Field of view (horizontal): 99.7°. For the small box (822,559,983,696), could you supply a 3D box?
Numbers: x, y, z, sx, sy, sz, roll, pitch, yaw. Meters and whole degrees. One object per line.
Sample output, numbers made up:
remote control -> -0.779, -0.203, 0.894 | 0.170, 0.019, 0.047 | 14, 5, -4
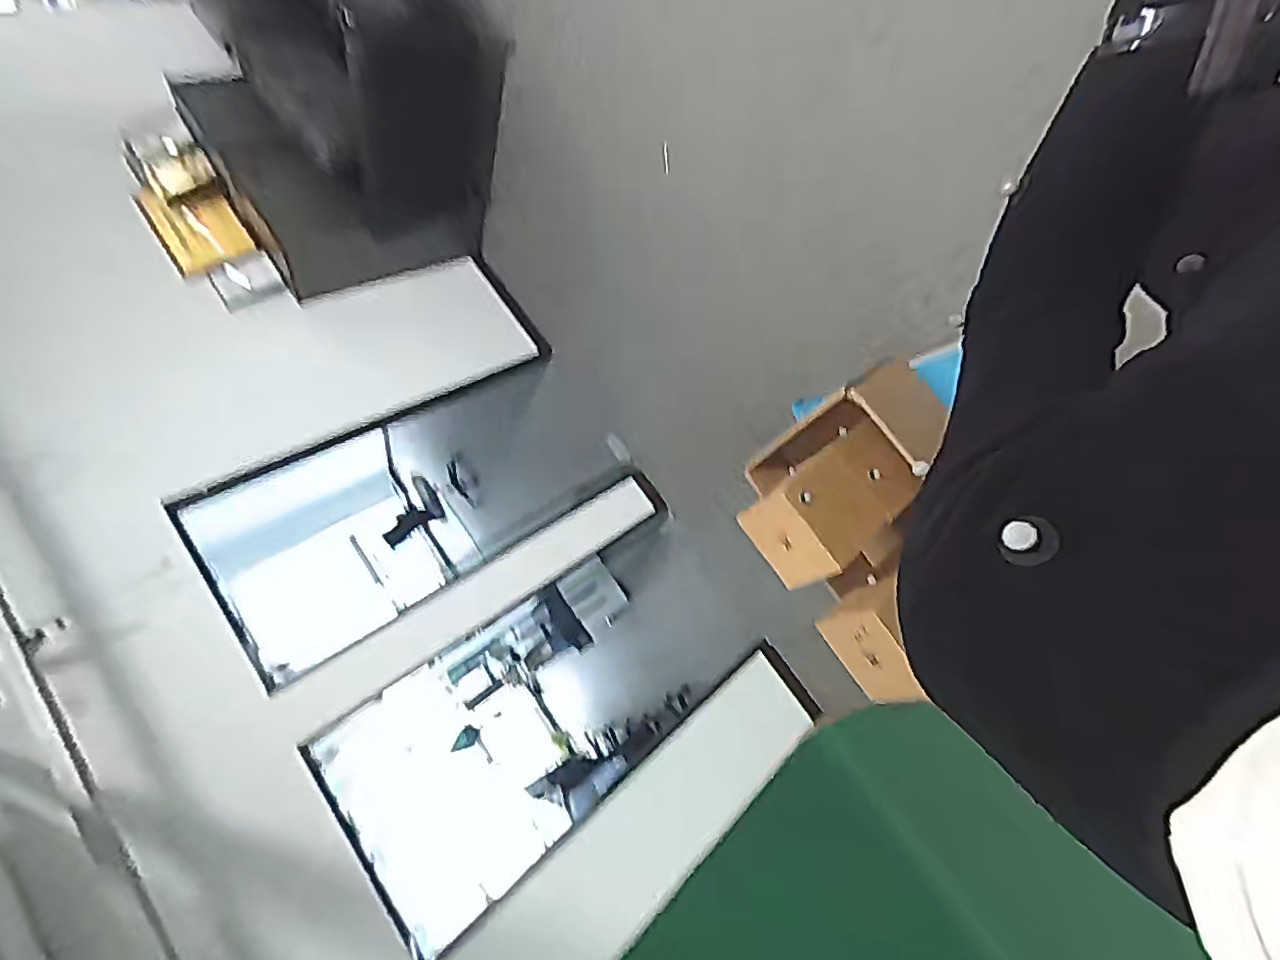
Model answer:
small box -> 0.490, 0.276, 1.011 | 0.179, 0.176, 0.168 | 55, 151, 9
